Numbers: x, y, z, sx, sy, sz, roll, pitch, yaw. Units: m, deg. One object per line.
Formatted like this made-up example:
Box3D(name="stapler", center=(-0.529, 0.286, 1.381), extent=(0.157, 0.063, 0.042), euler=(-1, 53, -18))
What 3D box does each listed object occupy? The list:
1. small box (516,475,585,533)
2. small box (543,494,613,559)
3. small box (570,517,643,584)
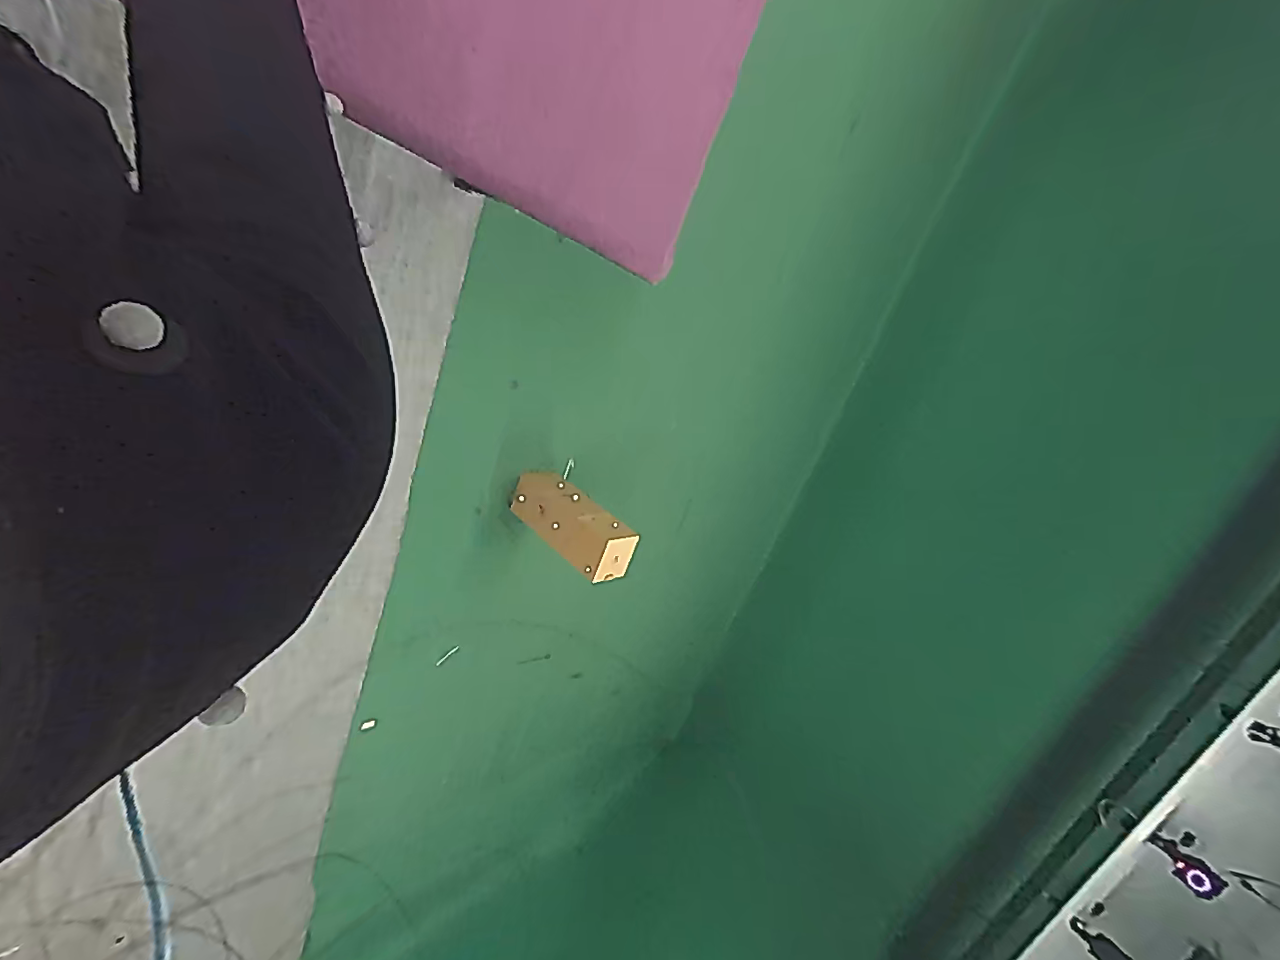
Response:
Box3D(name="small box", center=(-0.350, 0.088, 2.098), extent=(0.179, 0.176, 0.168), euler=(0, 117, -50))
Box3D(name="small box", center=(-0.236, 0.171, 2.008), extent=(0.168, 0.176, 0.179), euler=(1, 117, -53))
Box3D(name="small box", center=(-0.124, 0.241, 1.917), extent=(0.168, 0.176, 0.179), euler=(-2, 120, -50))
